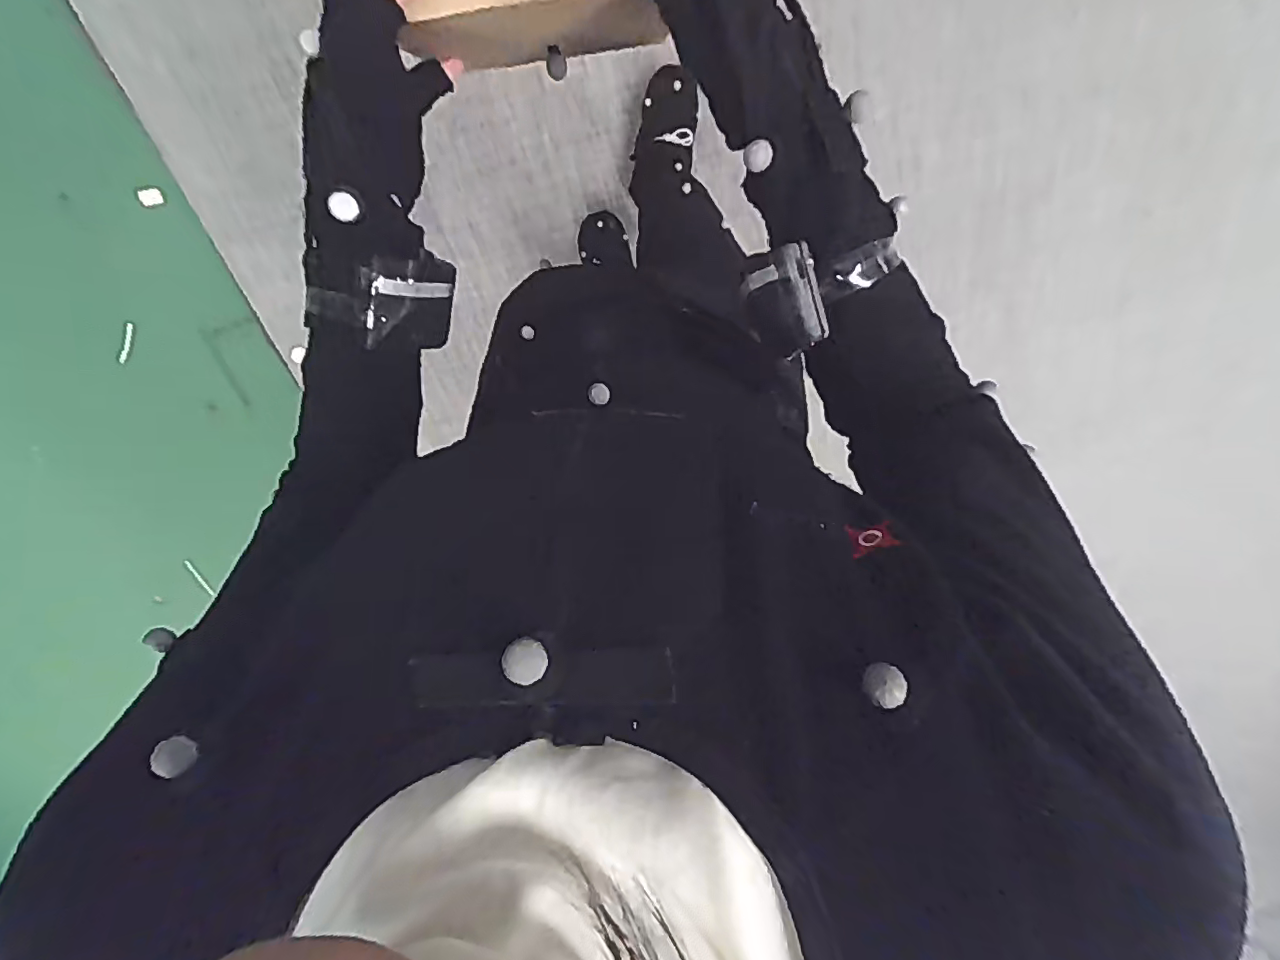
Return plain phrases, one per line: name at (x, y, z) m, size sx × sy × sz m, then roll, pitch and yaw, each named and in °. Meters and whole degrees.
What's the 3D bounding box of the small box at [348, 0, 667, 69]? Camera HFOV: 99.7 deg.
small box at (-0.078, -0.360, 0.313) m, size 0.179 × 0.176 × 0.168 m, roll -7°, pitch 120°, yaw 3°
